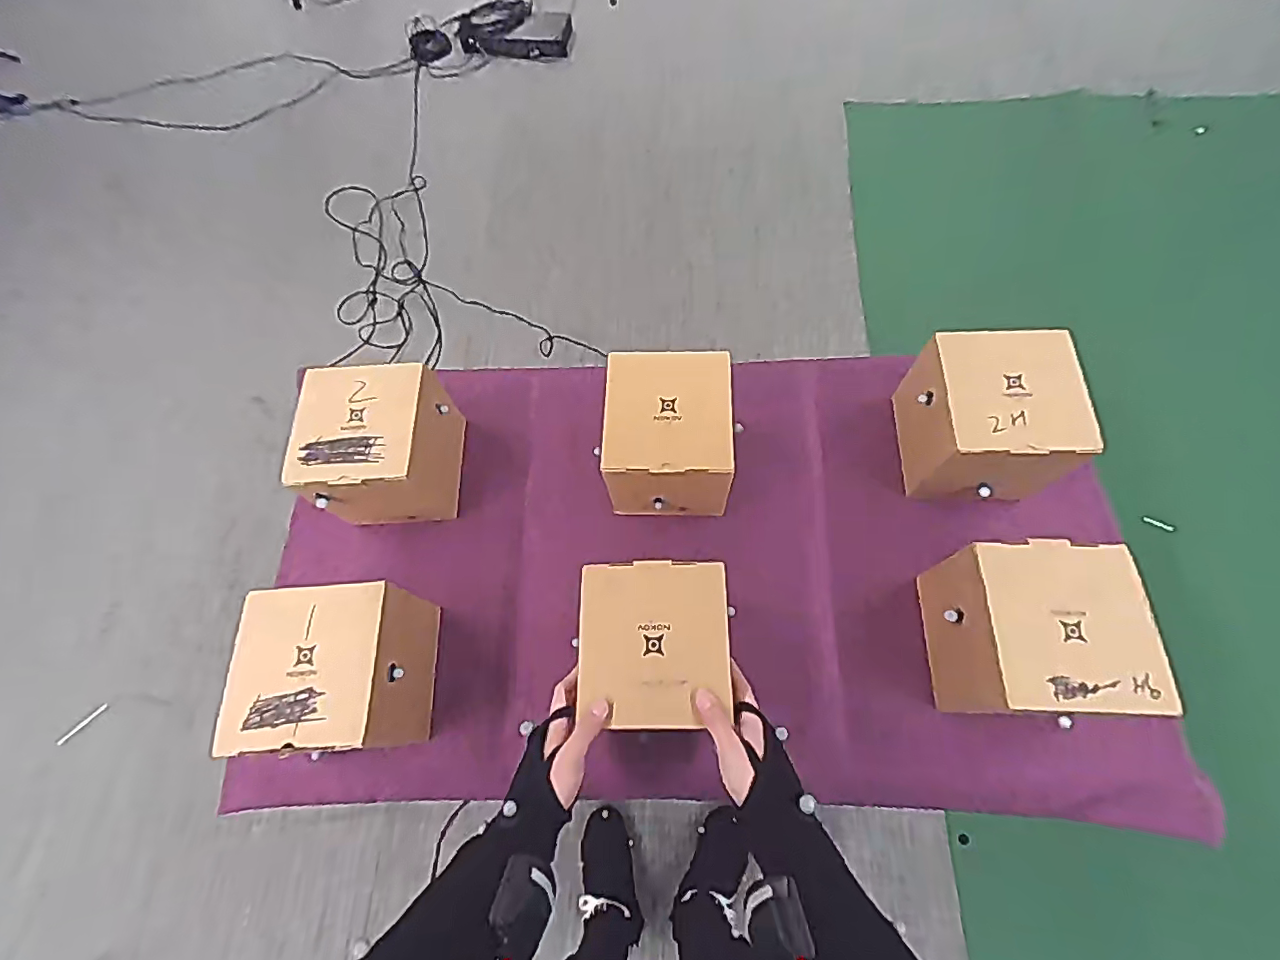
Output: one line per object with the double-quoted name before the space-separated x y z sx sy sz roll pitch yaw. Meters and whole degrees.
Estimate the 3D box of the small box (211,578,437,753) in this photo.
"small box" -0.365 0.228 0.664 0.168 0.176 0.179 -4 66 1

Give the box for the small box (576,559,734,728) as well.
"small box" 0.021 0.202 0.657 0.168 0.176 0.179 -1 68 4

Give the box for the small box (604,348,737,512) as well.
"small box" 0.043 -0.065 0.762 0.168 0.176 0.179 1 70 3

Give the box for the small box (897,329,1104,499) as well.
"small box" 0.471 -0.085 0.741 0.168 0.176 0.179 1 69 6

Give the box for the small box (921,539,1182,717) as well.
"small box" 0.455 0.180 0.638 0.168 0.176 0.179 1 66 5
